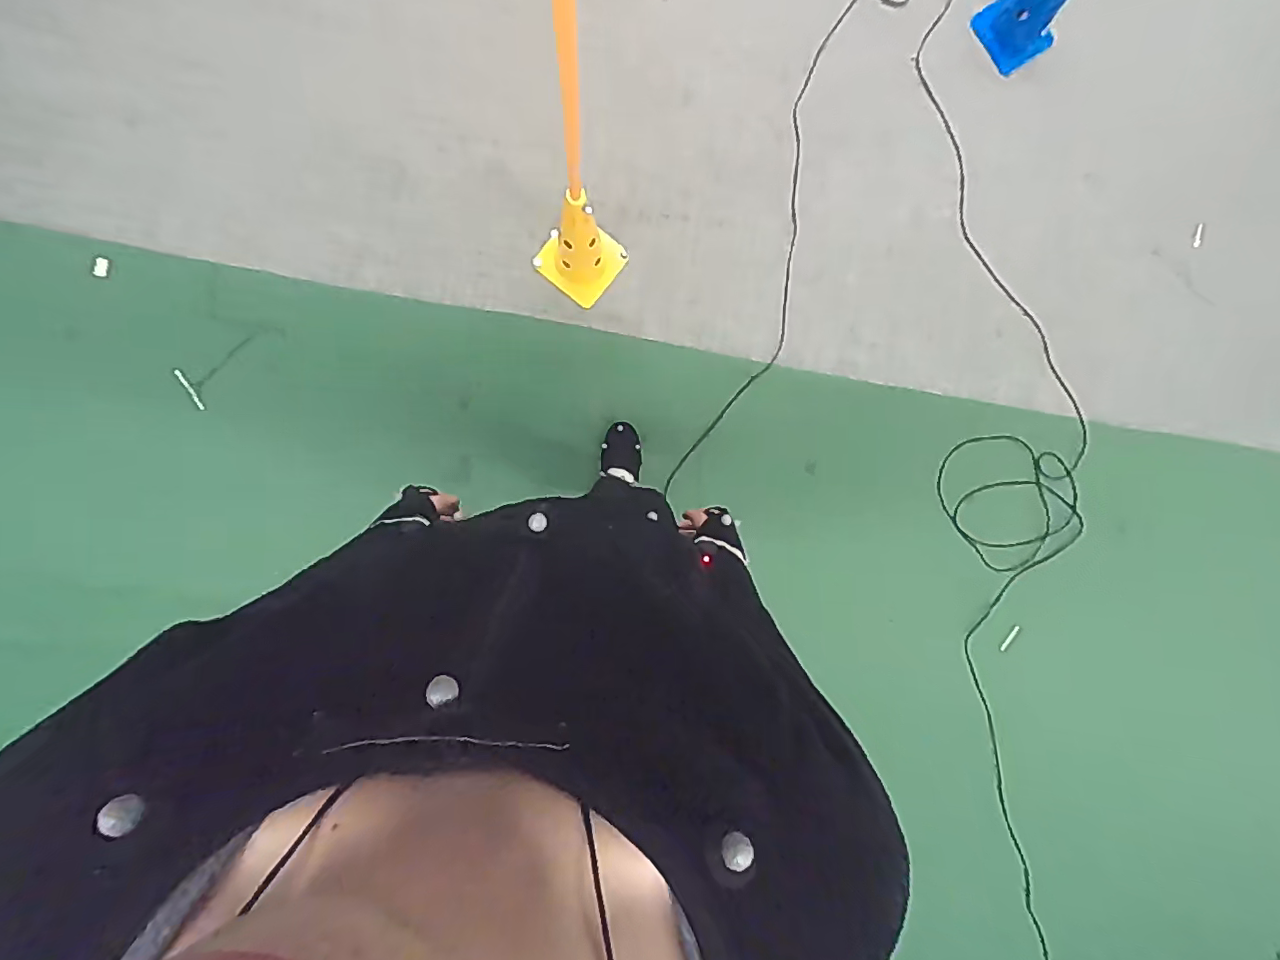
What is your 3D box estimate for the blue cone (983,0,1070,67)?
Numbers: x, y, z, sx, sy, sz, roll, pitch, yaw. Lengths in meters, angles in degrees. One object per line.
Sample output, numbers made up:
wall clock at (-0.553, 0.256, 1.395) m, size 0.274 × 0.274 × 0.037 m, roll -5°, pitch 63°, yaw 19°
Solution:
blue cone at (1.112, -1.312, 1.394) m, size 0.193 × 0.380 × 0.192 m, roll -36°, pitch 93°, yaw -5°
